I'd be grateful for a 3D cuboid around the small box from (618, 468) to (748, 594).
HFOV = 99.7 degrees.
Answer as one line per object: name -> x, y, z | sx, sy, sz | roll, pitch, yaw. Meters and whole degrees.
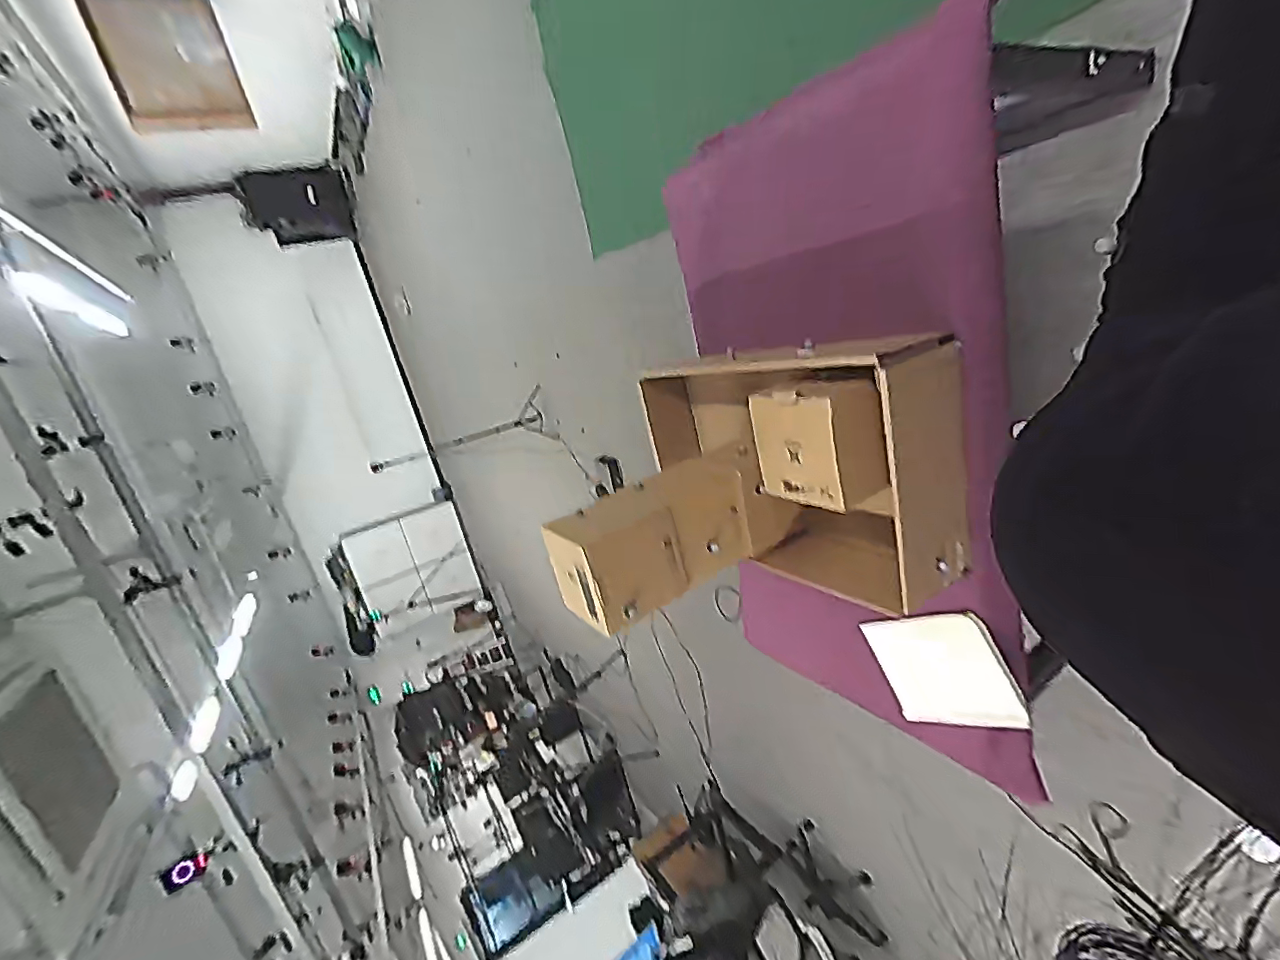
small box -> 0.088, 0.085, 1.026 | 0.179, 0.176, 0.168 | 14, 122, 56
